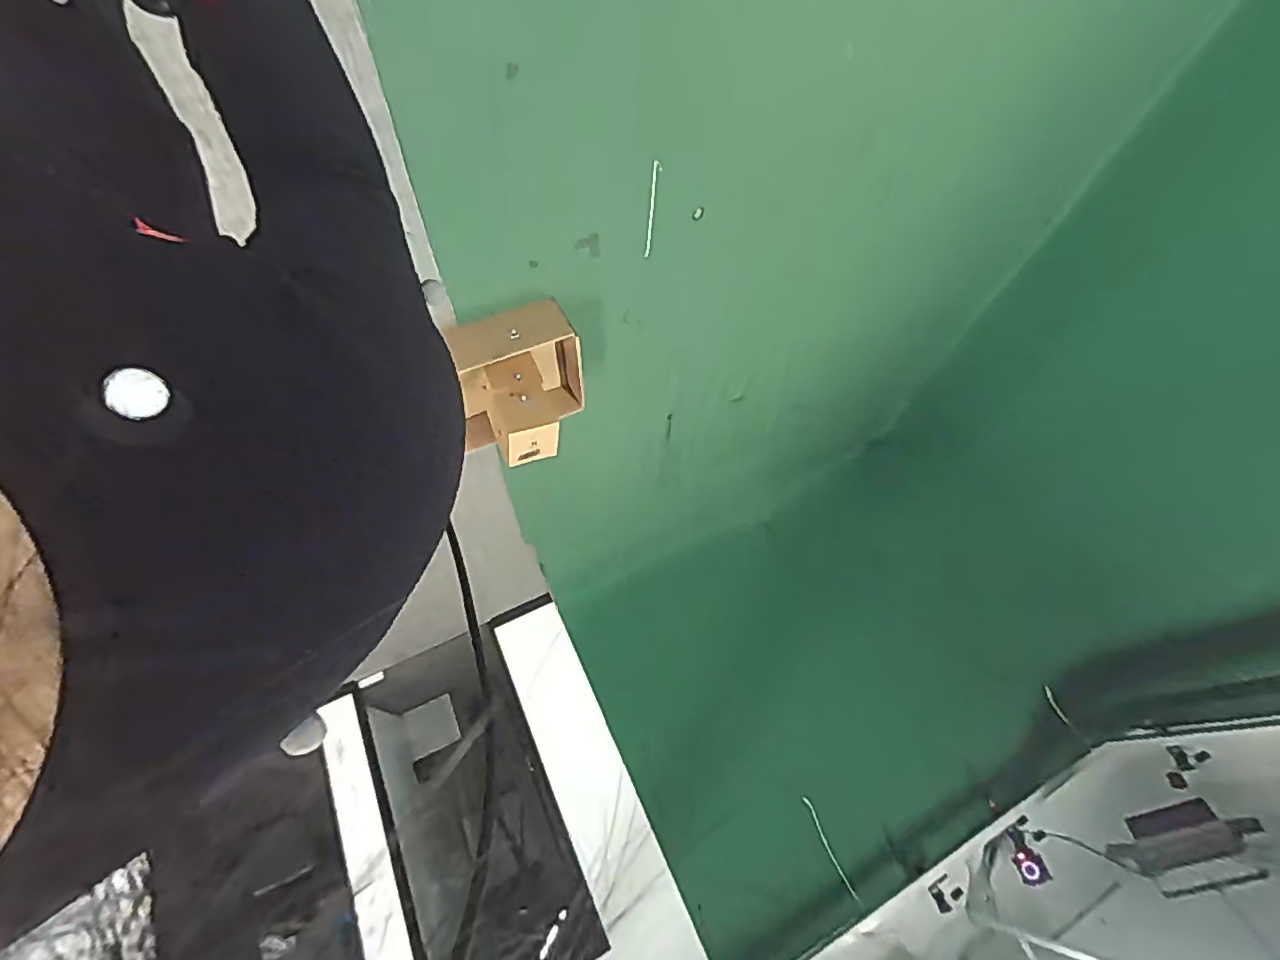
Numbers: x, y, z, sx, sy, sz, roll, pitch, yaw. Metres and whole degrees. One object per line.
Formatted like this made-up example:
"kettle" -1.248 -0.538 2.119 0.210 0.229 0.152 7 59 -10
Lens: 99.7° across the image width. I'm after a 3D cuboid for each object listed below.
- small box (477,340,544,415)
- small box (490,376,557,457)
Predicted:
"small box" -0.438 -0.343 1.799 0.179 0.176 0.168 -15 153 -25
"small box" -0.376 -0.204 1.734 0.168 0.176 0.179 -17 153 -22
